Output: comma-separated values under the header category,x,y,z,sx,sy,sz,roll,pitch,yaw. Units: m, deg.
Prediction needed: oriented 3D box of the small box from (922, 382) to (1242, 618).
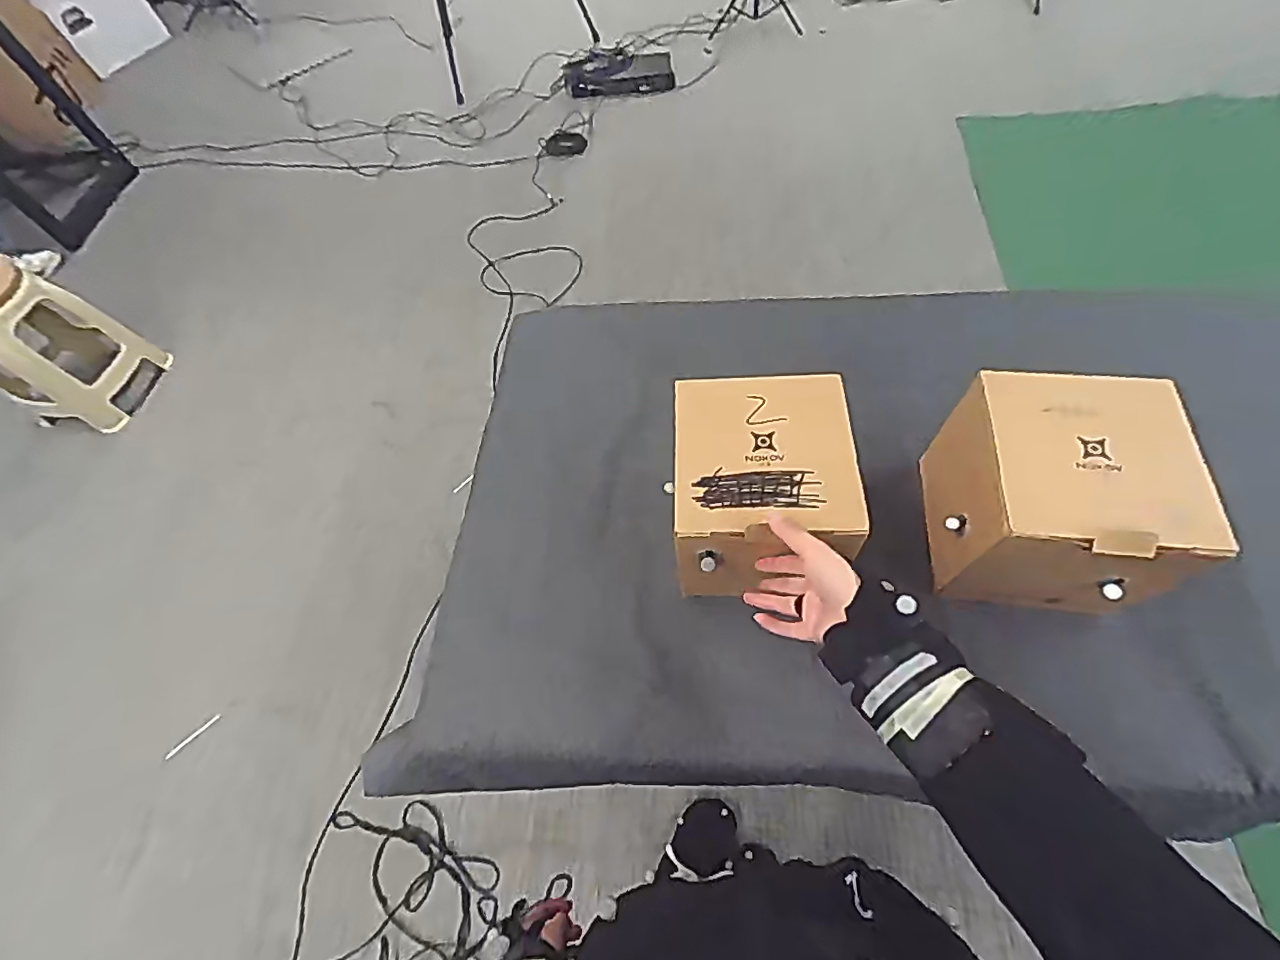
category,x,y,z,sx,sy,sz,roll,pitch,yaw
small box,0.401,0.026,0.535,0.168,0.176,0.179,4,60,8
